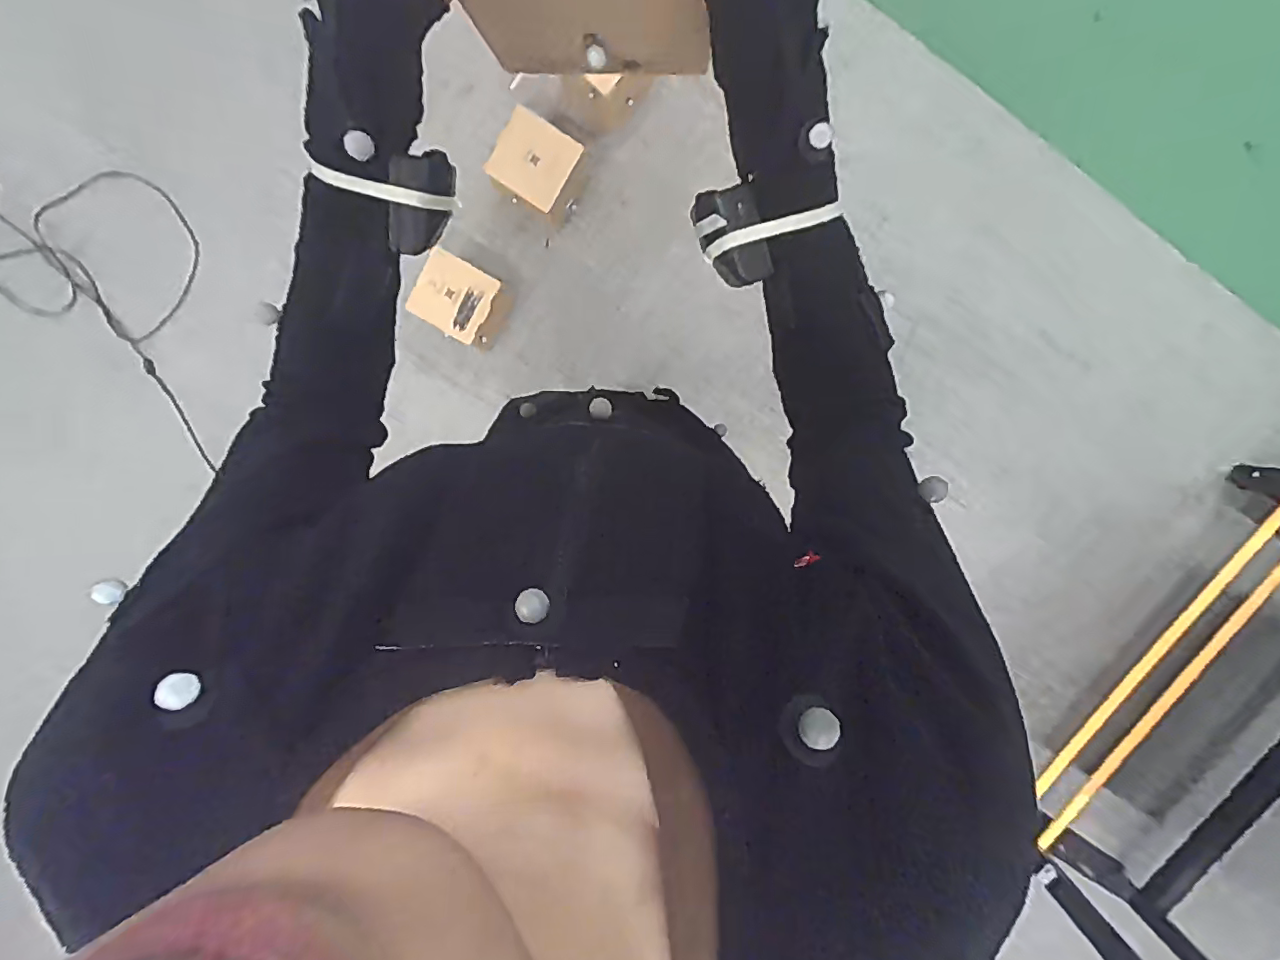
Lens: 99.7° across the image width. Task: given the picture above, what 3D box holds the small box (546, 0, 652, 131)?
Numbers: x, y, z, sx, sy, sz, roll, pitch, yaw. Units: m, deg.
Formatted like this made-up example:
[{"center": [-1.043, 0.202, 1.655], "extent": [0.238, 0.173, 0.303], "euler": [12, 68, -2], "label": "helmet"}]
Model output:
[{"center": [-0.091, -0.965, 1.255], "extent": [0.179, 0.176, 0.168], "euler": [40, 96, -6], "label": "small box"}]

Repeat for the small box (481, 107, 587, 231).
[{"center": [-0.243, -0.726, 1.288], "extent": [0.179, 0.176, 0.168], "euler": [31, 99, -6], "label": "small box"}]
